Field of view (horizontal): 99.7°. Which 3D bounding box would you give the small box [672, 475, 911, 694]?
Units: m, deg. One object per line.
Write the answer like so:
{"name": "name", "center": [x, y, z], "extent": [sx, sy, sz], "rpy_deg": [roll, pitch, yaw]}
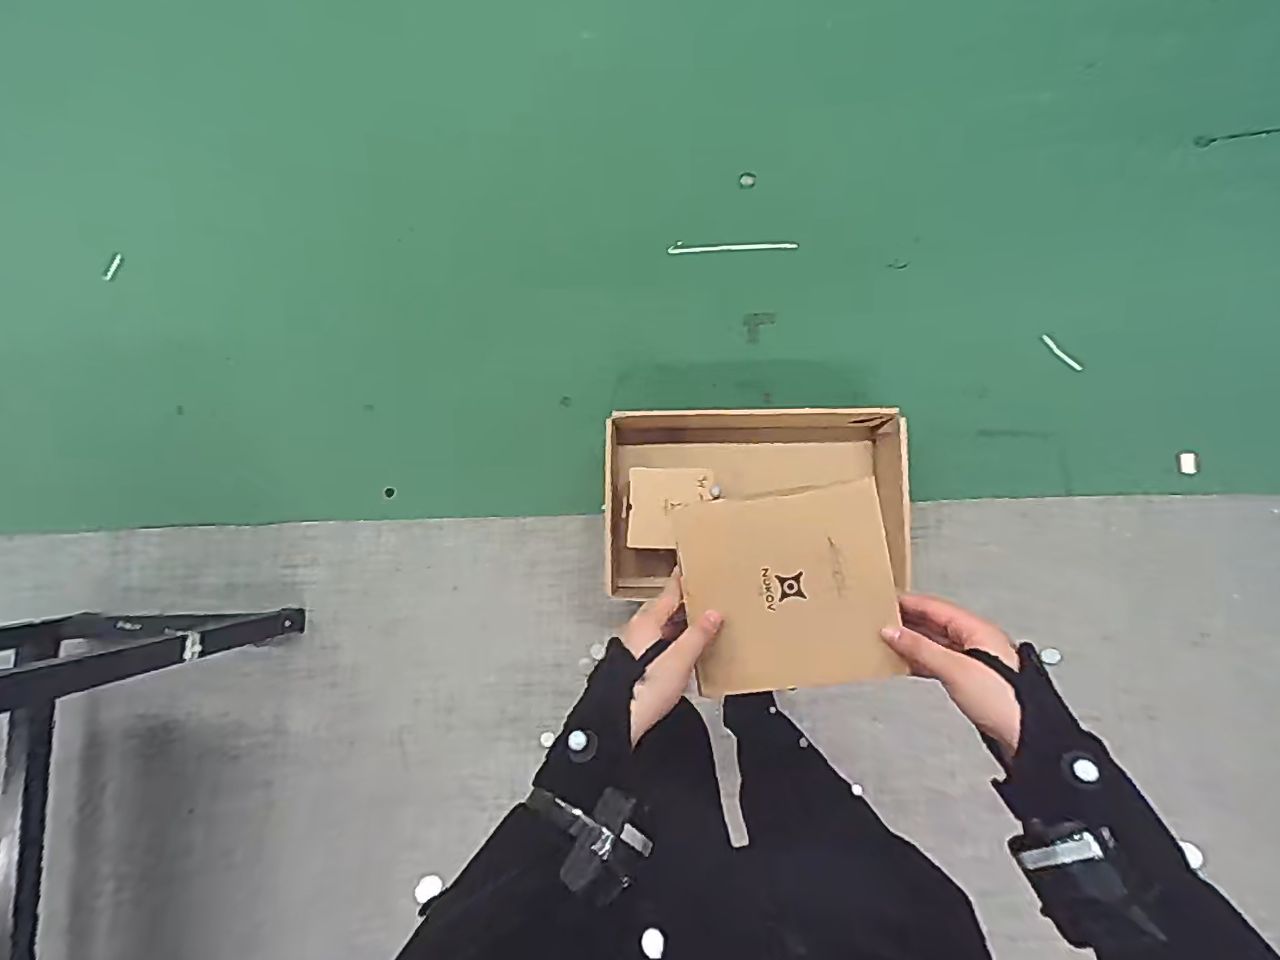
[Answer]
{"name": "small box", "center": [0.133, 0.093, 0.534], "extent": [0.179, 0.176, 0.168], "rpy_deg": [-10, 87, 5]}

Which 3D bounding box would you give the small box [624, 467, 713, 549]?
{"name": "small box", "center": [0.062, 0.064, 1.161], "extent": [0.179, 0.176, 0.168], "rpy_deg": [1, 86, 3]}
